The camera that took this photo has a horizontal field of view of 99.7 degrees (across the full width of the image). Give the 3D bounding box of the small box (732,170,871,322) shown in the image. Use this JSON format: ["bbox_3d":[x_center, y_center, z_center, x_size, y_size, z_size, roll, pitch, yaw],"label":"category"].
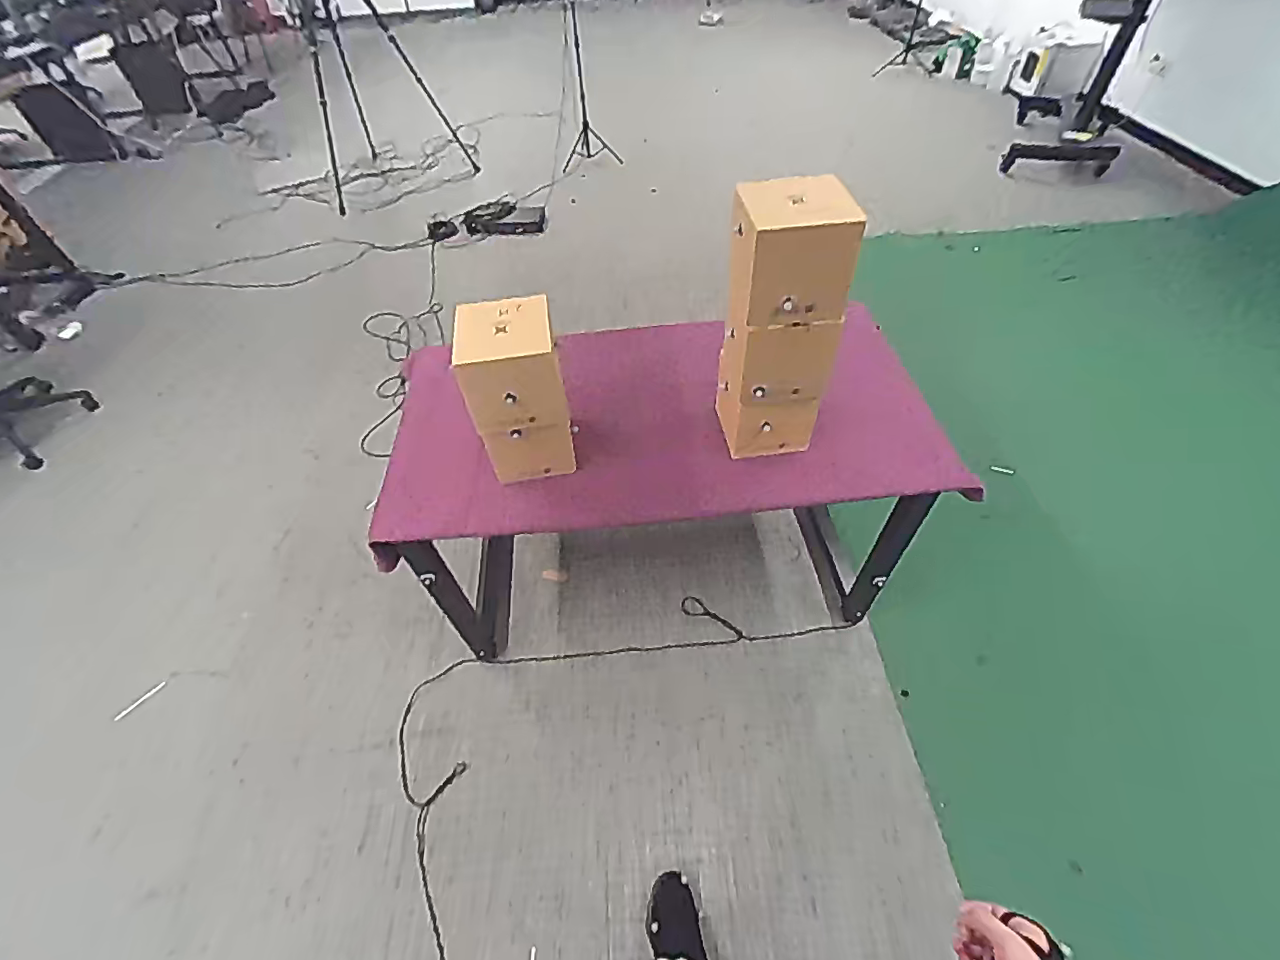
[{"bbox_3d":[0.249,-0.381,0.885,0.168,0.176,0.179,-5,50,0],"label":"small box"}]

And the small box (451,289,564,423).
[{"bbox_3d":[-0.234,-0.219,0.985,0.168,0.176,0.179,-8,51,-5],"label":"small box"}]

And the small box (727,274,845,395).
[{"bbox_3d":[0.259,-0.271,1.005,0.168,0.176,0.179,-5,48,-1],"label":"small box"}]

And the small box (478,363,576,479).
[{"bbox_3d":[-0.231,-0.128,1.124,0.168,0.176,0.179,-10,51,-5],"label":"small box"}]

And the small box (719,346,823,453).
[{"bbox_3d":[0.265,-0.171,1.136,0.168,0.176,0.179,-7,49,-2],"label":"small box"}]
